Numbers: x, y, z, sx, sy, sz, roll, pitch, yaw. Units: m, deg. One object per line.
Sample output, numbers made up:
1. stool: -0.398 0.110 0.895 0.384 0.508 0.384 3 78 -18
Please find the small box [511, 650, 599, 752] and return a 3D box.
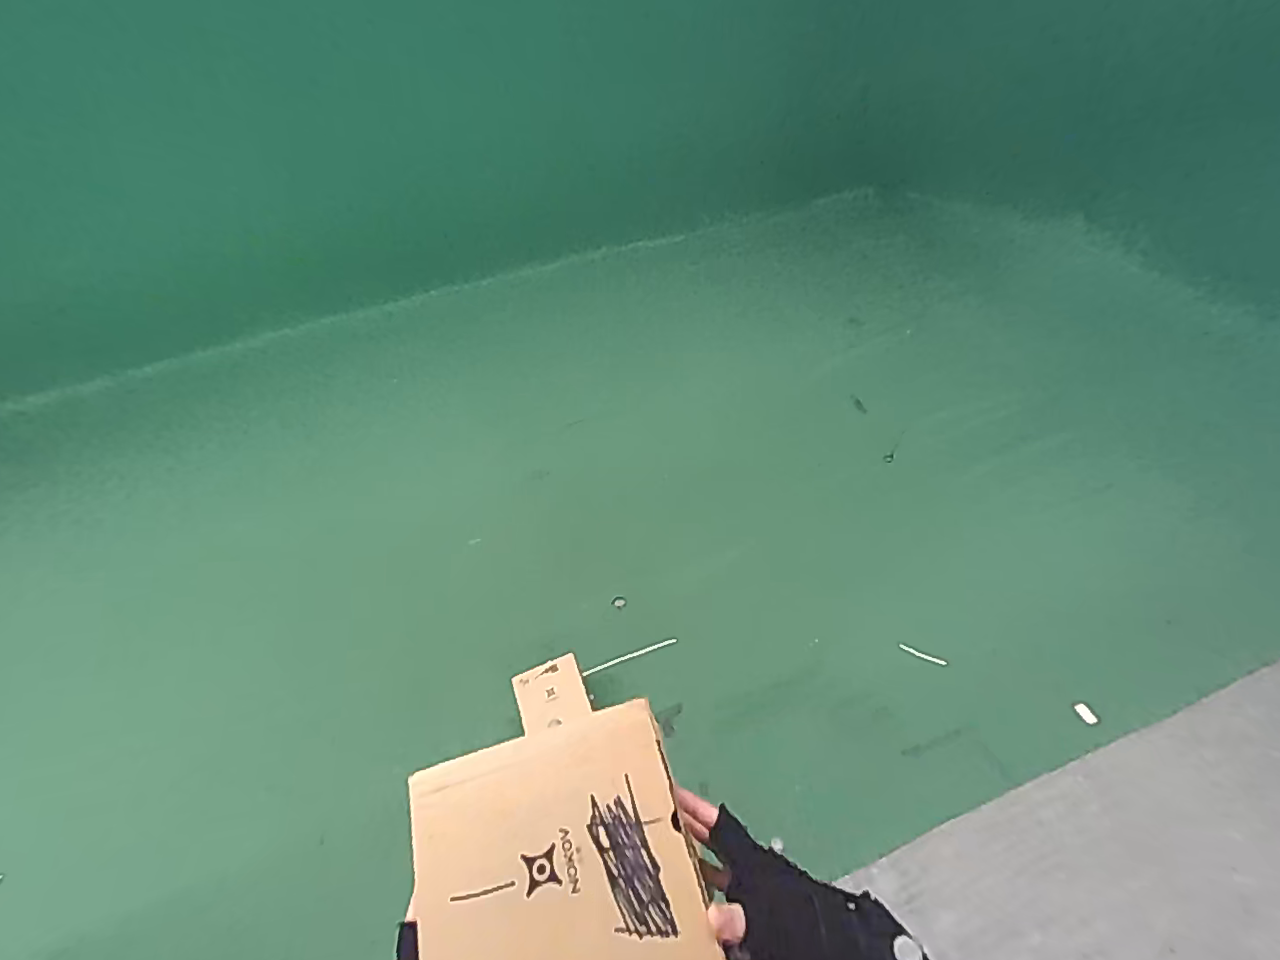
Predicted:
1. small box: -0.214 0.573 1.384 0.168 0.176 0.179 -19 51 -10
